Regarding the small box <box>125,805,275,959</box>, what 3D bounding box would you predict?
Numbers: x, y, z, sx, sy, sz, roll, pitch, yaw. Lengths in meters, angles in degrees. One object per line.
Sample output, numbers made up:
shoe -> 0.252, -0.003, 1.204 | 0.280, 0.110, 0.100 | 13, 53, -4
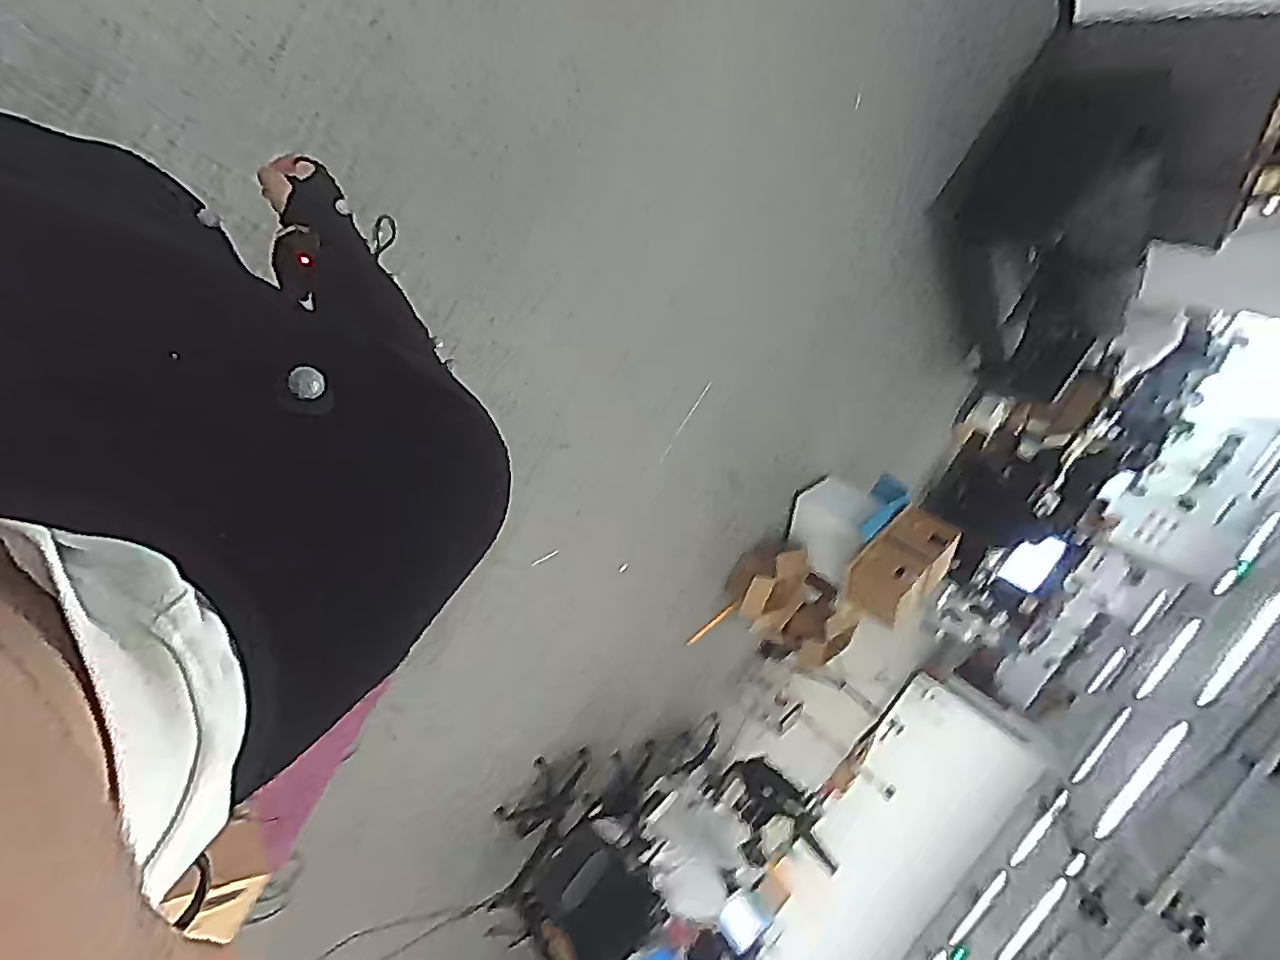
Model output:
small box -> -0.830, 0.745, 1.014 | 0.168, 0.176, 0.179 | 26, 99, -50
